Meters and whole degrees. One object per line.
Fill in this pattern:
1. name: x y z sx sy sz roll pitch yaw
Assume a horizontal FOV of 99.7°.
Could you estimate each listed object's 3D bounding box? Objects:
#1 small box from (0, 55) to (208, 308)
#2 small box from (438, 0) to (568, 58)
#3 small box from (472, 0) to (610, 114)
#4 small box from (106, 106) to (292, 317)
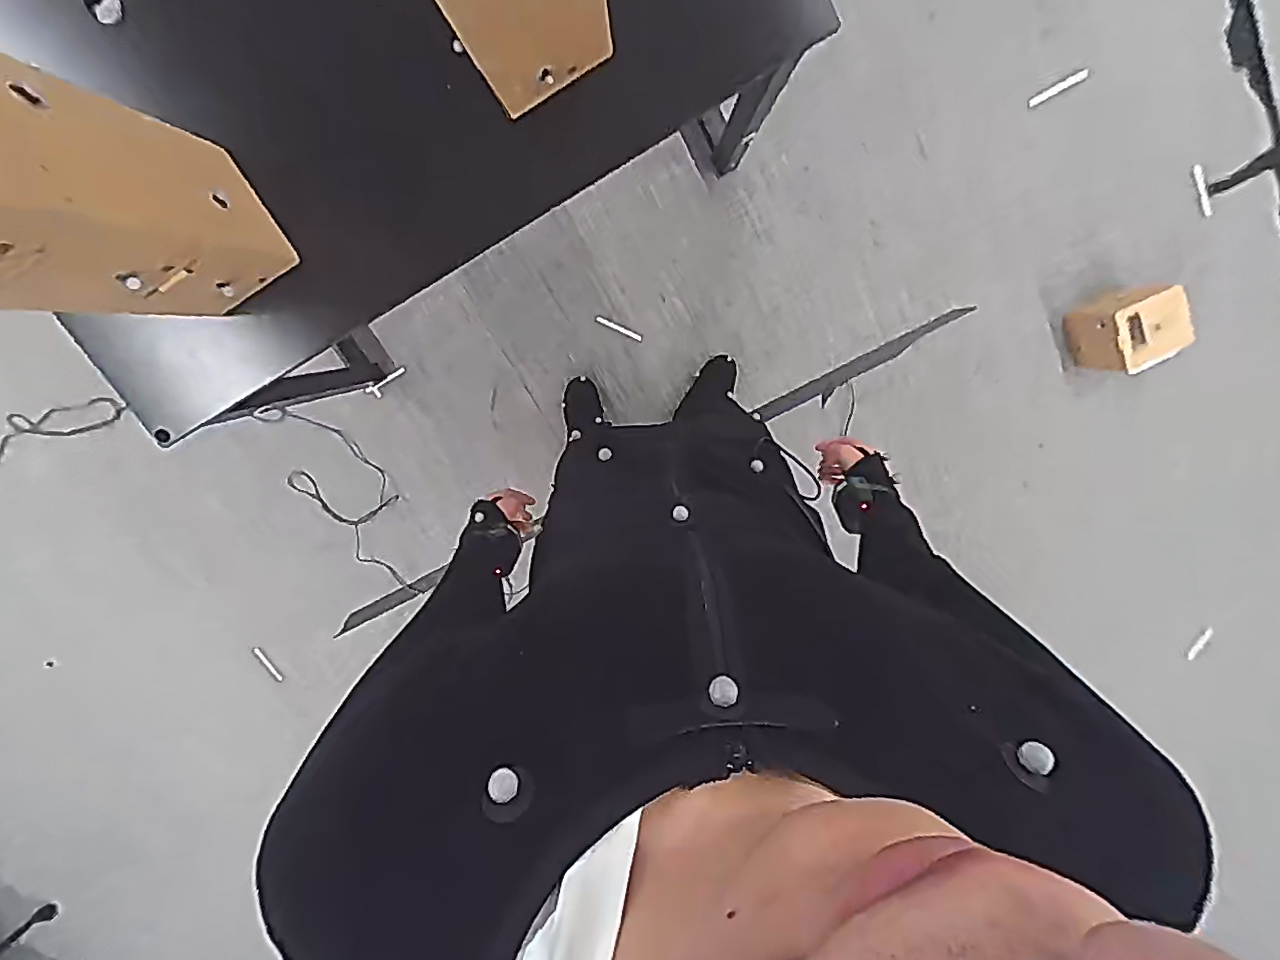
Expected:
1. small box: -0.617 -0.293 0.555 0.168 0.176 0.179 -29 104 8
2. small box: -0.146 -0.541 0.487 0.179 0.176 0.168 -32 104 8
3. small box: -0.149 -0.591 0.644 0.168 0.176 0.179 -28 104 8
4. small box: -0.616 -0.335 0.714 0.168 0.176 0.179 -30 104 7
